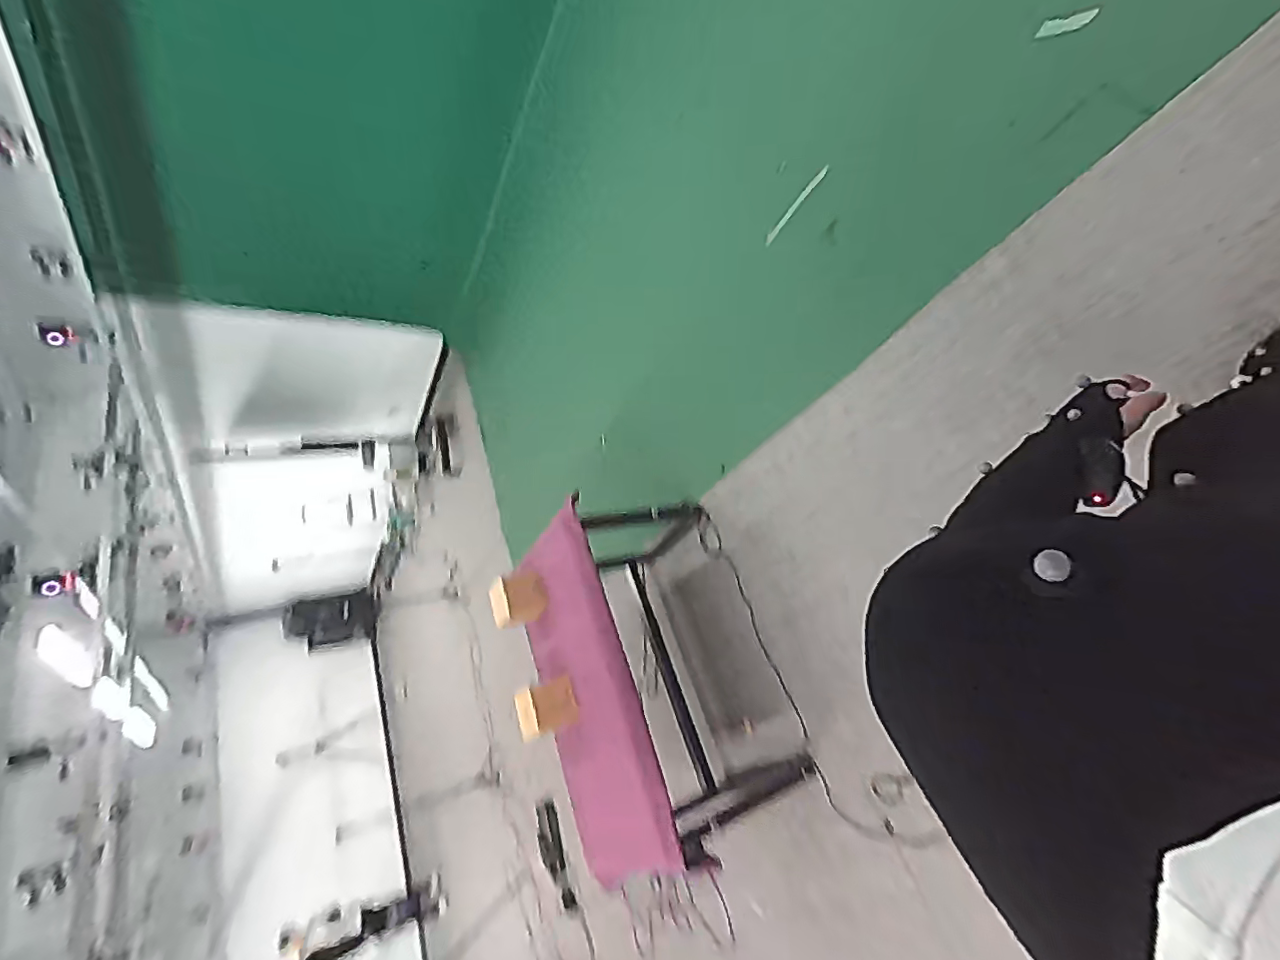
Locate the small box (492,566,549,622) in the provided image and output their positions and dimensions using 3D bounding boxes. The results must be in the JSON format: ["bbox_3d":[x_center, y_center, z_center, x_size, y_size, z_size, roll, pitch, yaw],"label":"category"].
[{"bbox_3d":[-0.496,0.472,2.247,0.179,0.176,0.168,-45,59,47],"label":"small box"}]

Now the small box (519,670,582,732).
[{"bbox_3d":[-0.344,0.853,2.086,0.179,0.176,0.168,-46,57,45],"label":"small box"}]
